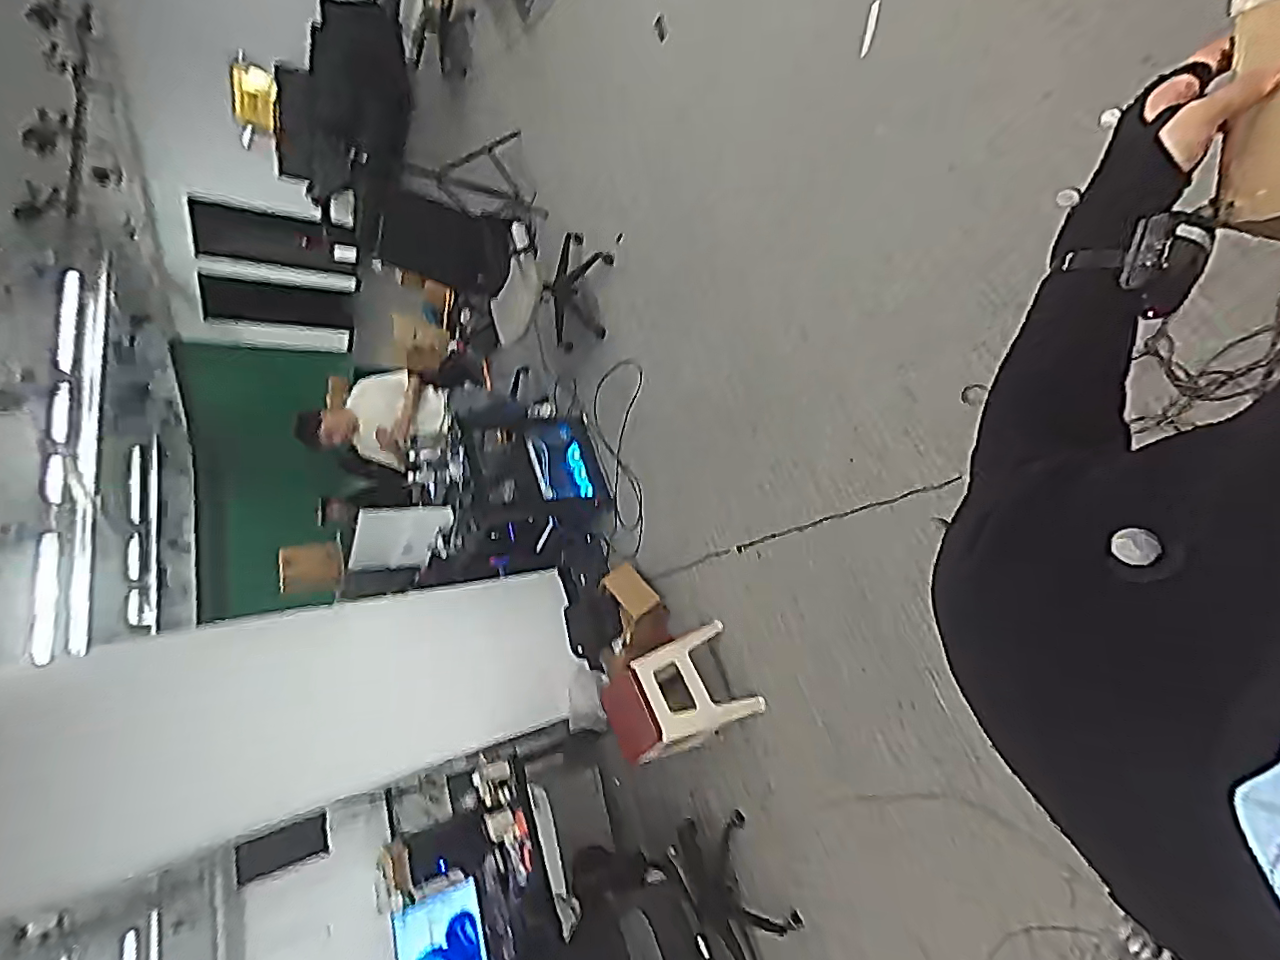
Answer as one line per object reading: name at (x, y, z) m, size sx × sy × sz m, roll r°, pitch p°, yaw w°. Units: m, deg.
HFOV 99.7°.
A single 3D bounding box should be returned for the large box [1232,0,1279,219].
large box at (0.674, -0.354, 0.291) m, size 0.408 × 0.320 × 0.320 m, roll 16°, pitch 113°, yaw 58°
